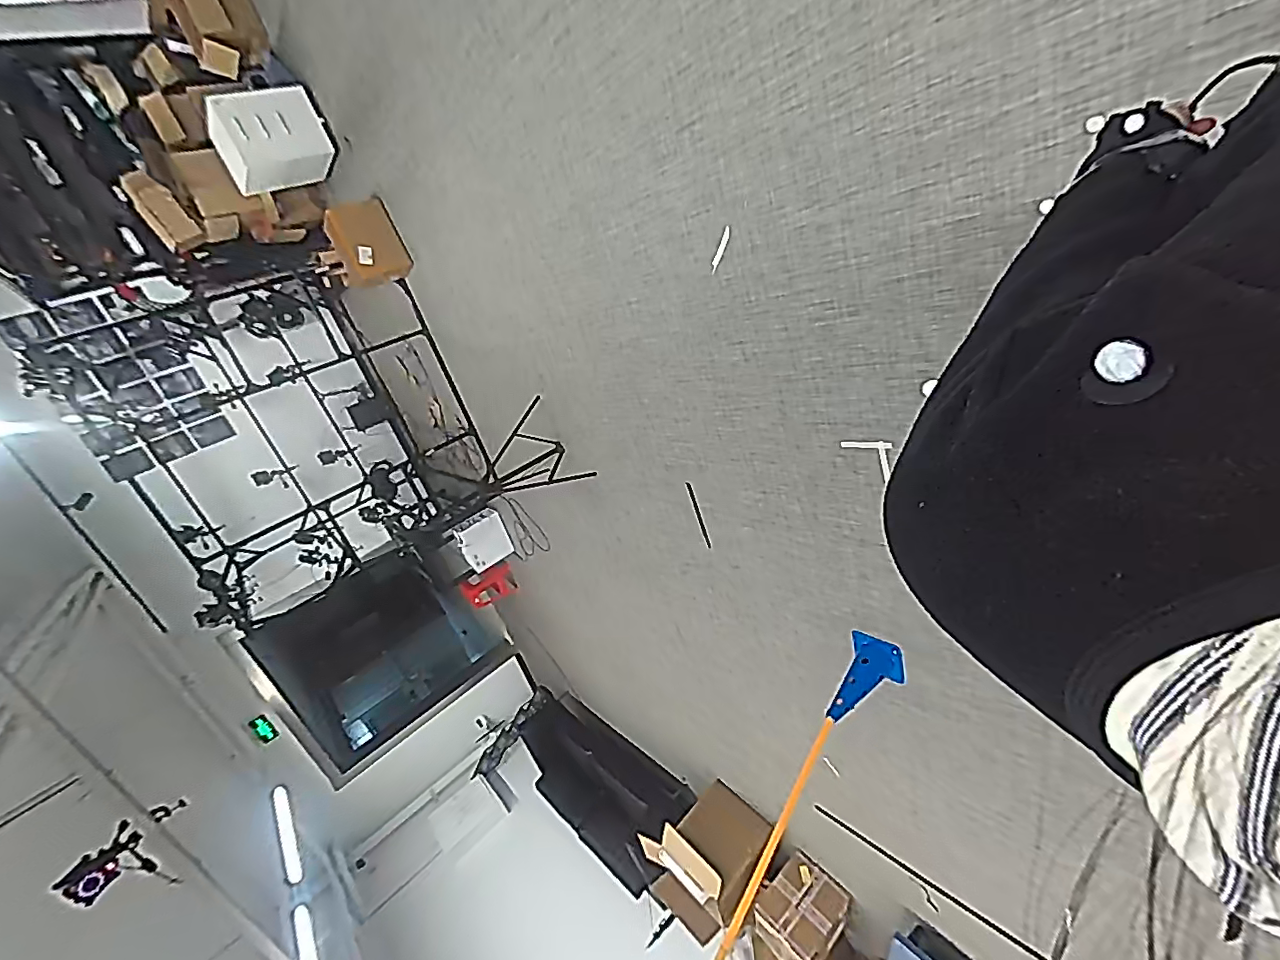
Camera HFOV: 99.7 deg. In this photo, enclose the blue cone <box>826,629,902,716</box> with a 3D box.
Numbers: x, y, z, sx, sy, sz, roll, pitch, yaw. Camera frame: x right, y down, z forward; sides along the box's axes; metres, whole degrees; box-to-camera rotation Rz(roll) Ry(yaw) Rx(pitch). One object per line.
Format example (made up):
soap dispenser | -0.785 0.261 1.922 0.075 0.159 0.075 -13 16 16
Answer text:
blue cone | 0.828 0.767 2.065 0.193 0.380 0.192 15 130 49
